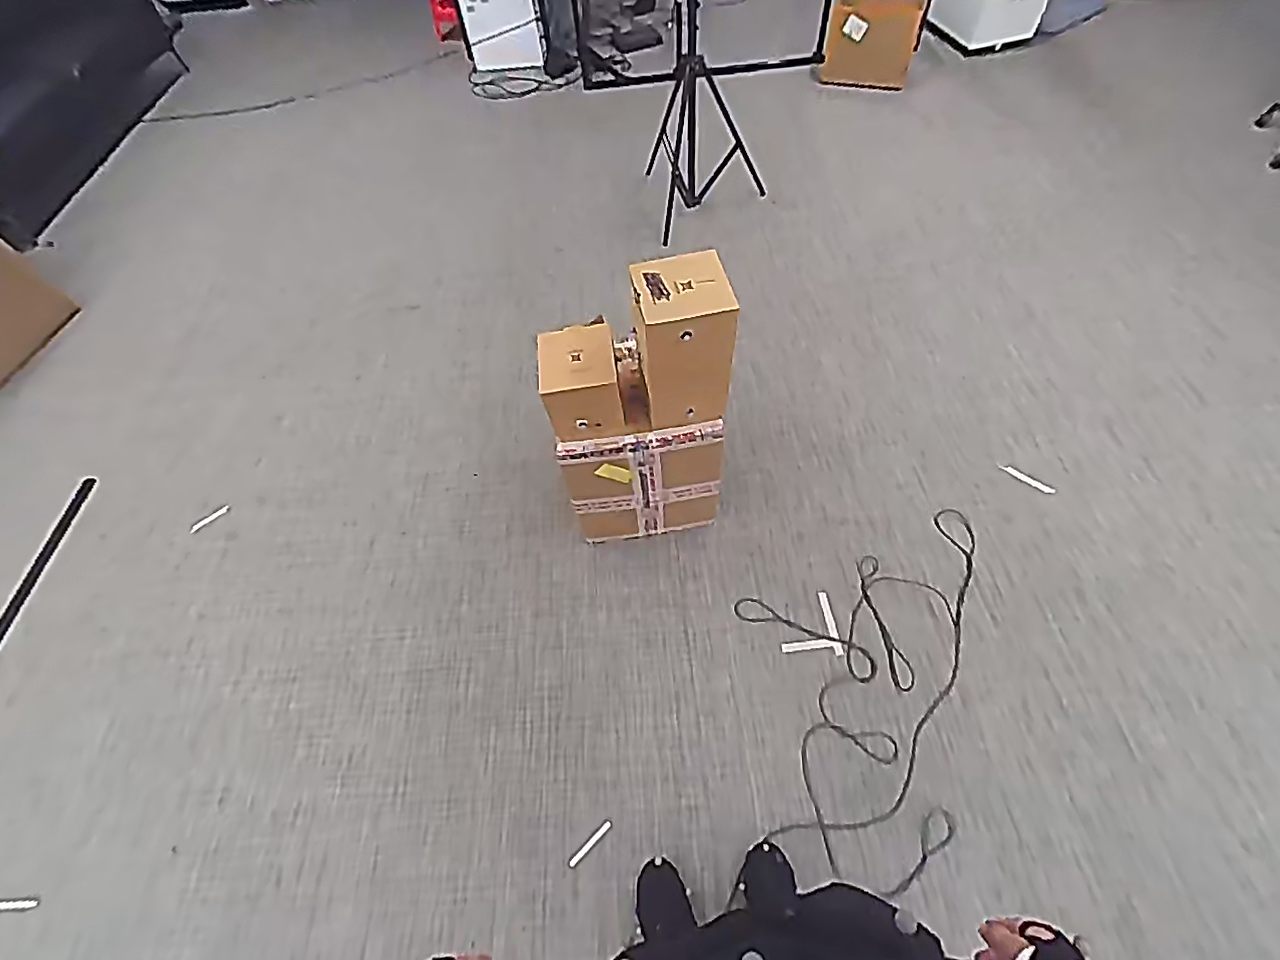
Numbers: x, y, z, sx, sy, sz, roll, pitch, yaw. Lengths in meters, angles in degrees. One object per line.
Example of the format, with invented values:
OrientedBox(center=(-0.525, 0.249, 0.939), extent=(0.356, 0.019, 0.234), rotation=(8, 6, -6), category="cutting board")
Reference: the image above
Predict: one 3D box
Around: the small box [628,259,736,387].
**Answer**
OrientedBox(center=(0.082, -0.306, 1.081), extent=(0.179, 0.176, 0.168), rotation=(-12, 61, -3), category="small box")

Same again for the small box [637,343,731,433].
OrientedBox(center=(0.093, -0.230, 1.227), extent=(0.179, 0.176, 0.168), rotation=(-12, 60, -3), category="small box")

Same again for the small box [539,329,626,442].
OrientedBox(center=(-0.129, -0.212, 1.234), extent=(0.168, 0.176, 0.179), rotation=(-10, 61, 1), category="small box")
